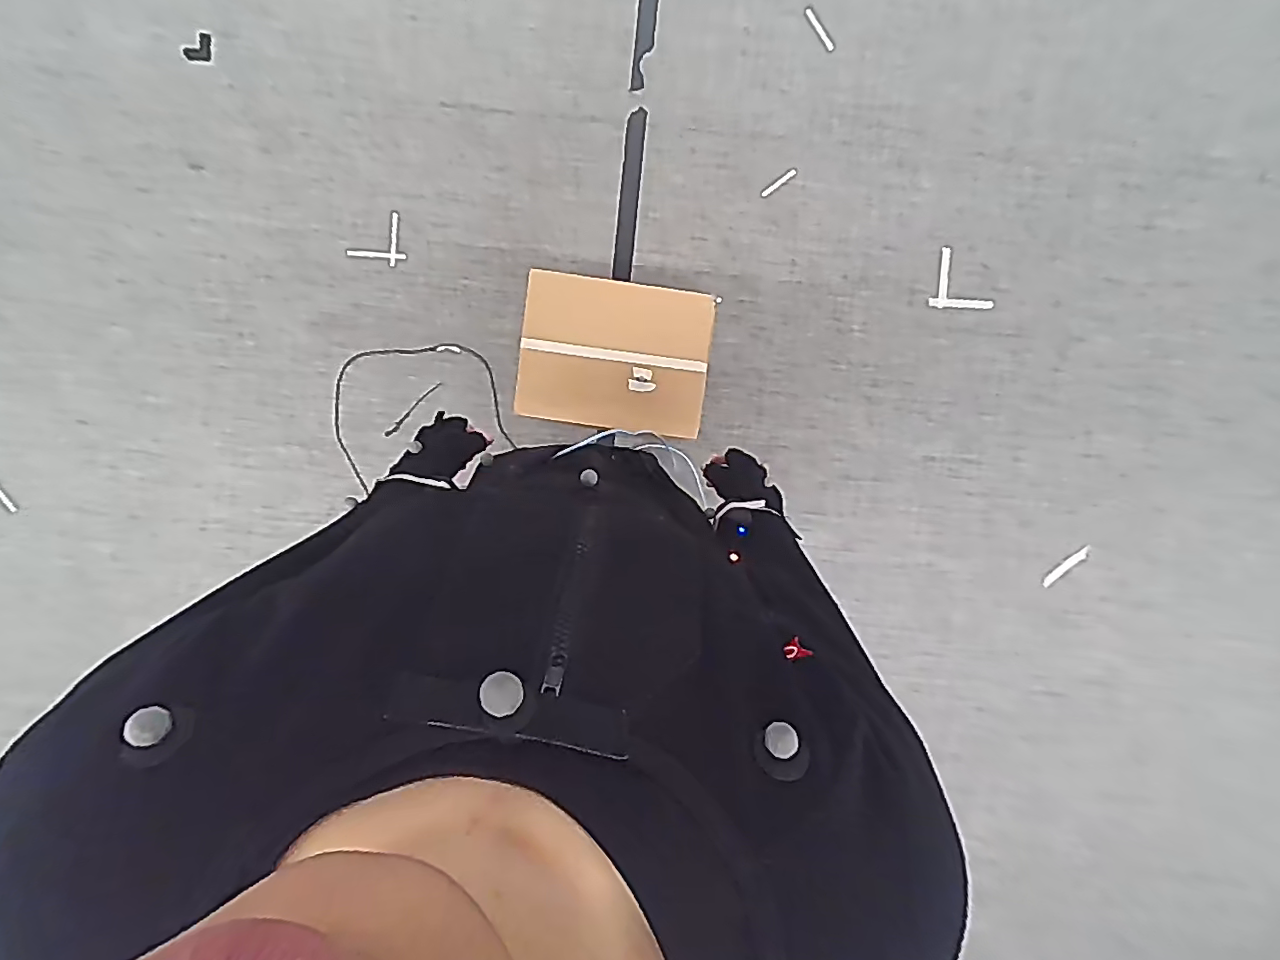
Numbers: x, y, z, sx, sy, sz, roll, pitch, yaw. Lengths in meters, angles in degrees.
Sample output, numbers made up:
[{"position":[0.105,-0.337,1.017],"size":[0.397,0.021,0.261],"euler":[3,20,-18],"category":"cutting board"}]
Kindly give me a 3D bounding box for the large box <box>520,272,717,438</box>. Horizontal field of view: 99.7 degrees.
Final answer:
[{"position":[-0.054,-0.281,1.322],"size":[0.408,0.320,0.320],"euler":[8,94,-2],"category":"large box"}]
